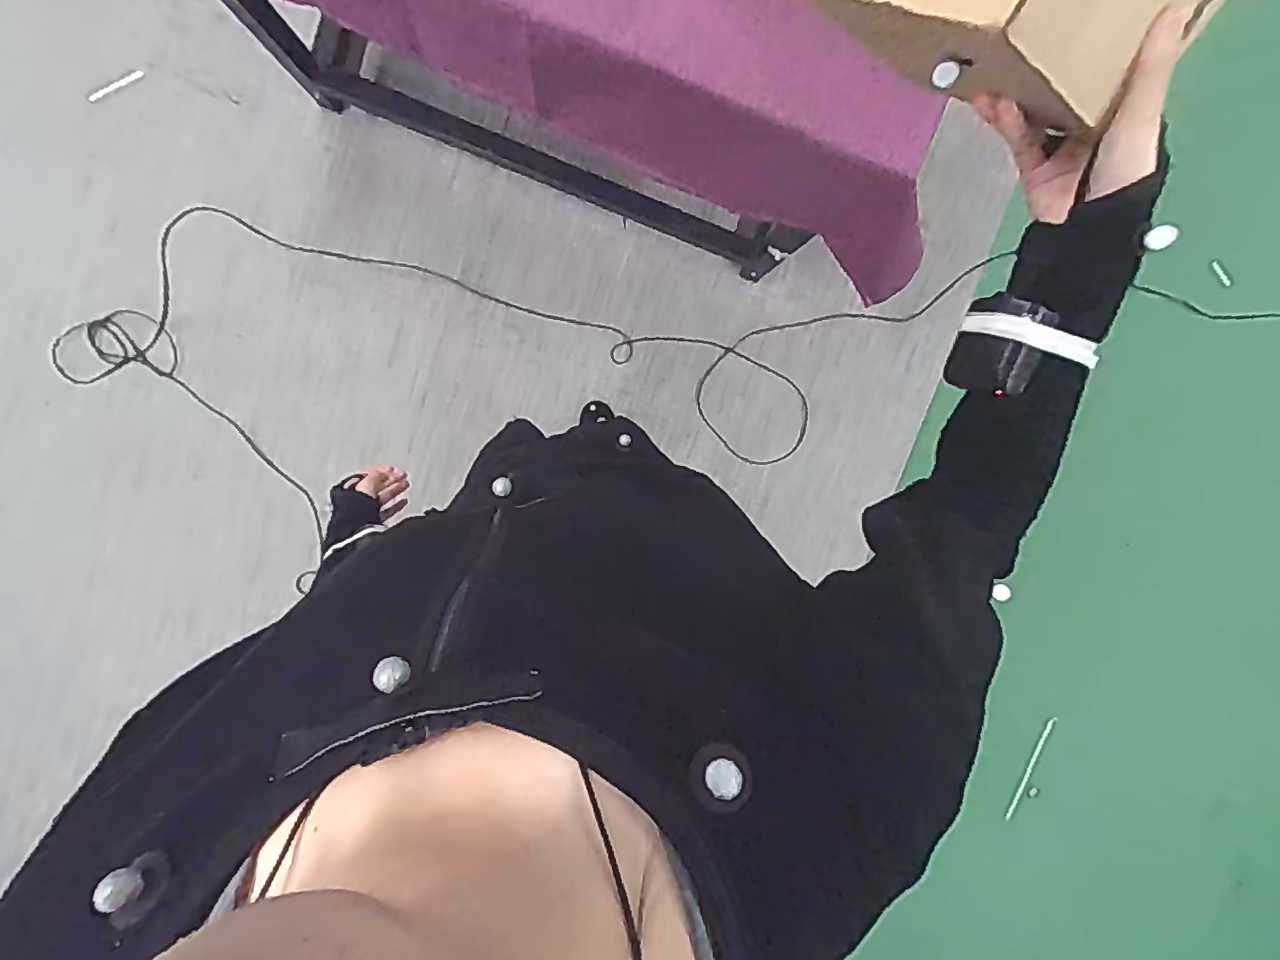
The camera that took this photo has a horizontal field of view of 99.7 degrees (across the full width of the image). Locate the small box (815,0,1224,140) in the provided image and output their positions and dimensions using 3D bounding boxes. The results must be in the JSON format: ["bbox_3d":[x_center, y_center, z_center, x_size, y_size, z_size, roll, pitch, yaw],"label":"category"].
[{"bbox_3d":[0.230,-0.331,0.306,0.179,0.176,0.168,-2,134,-36],"label":"small box"}]
